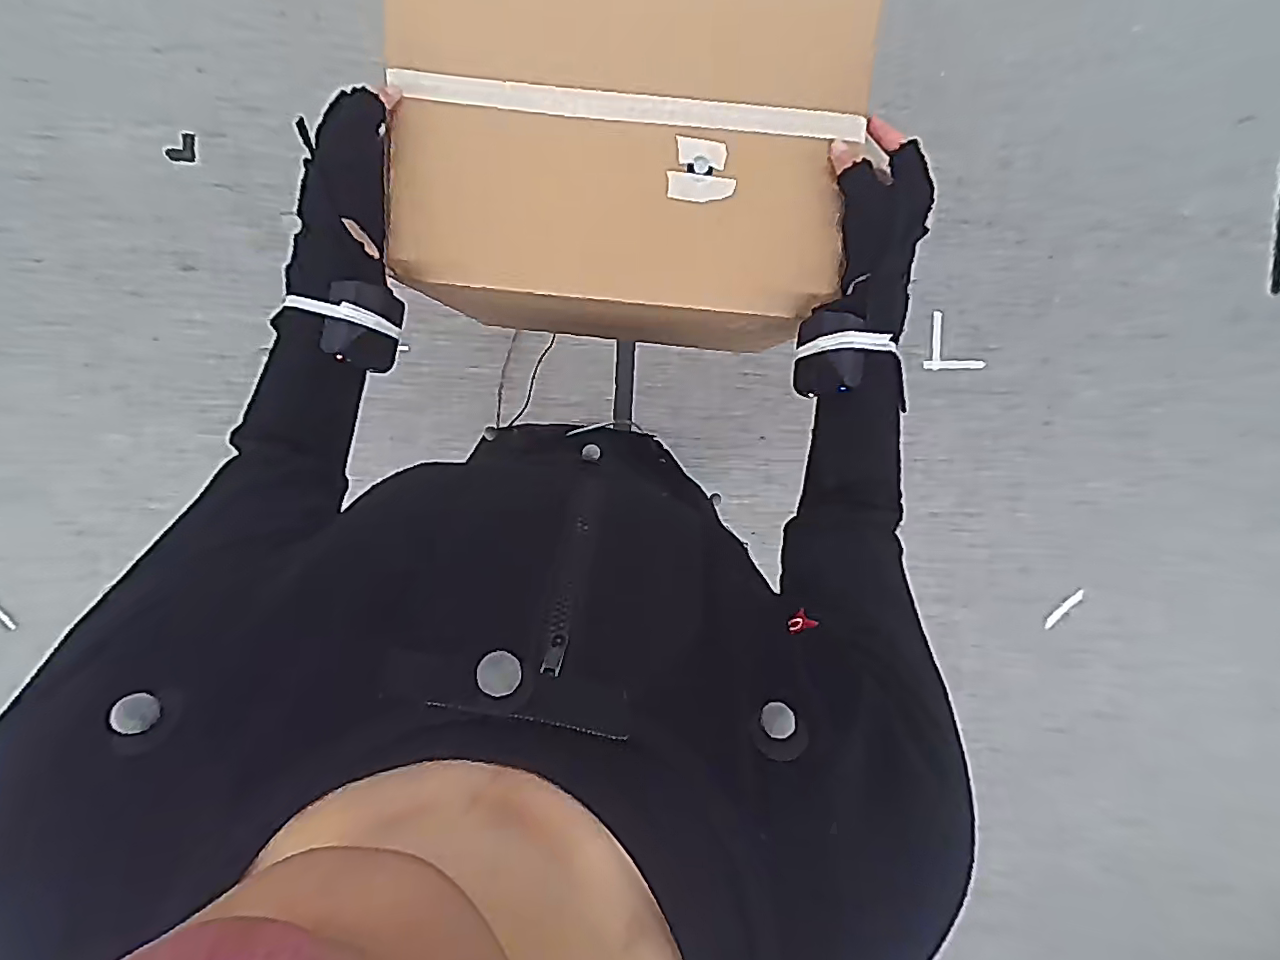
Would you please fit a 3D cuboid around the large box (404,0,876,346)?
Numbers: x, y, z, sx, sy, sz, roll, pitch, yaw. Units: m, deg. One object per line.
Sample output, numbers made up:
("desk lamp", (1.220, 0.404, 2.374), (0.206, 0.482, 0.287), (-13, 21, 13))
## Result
("large box", (-0.008, -0.340, 0.621), (0.408, 0.320, 0.320), (5, 99, -2))
